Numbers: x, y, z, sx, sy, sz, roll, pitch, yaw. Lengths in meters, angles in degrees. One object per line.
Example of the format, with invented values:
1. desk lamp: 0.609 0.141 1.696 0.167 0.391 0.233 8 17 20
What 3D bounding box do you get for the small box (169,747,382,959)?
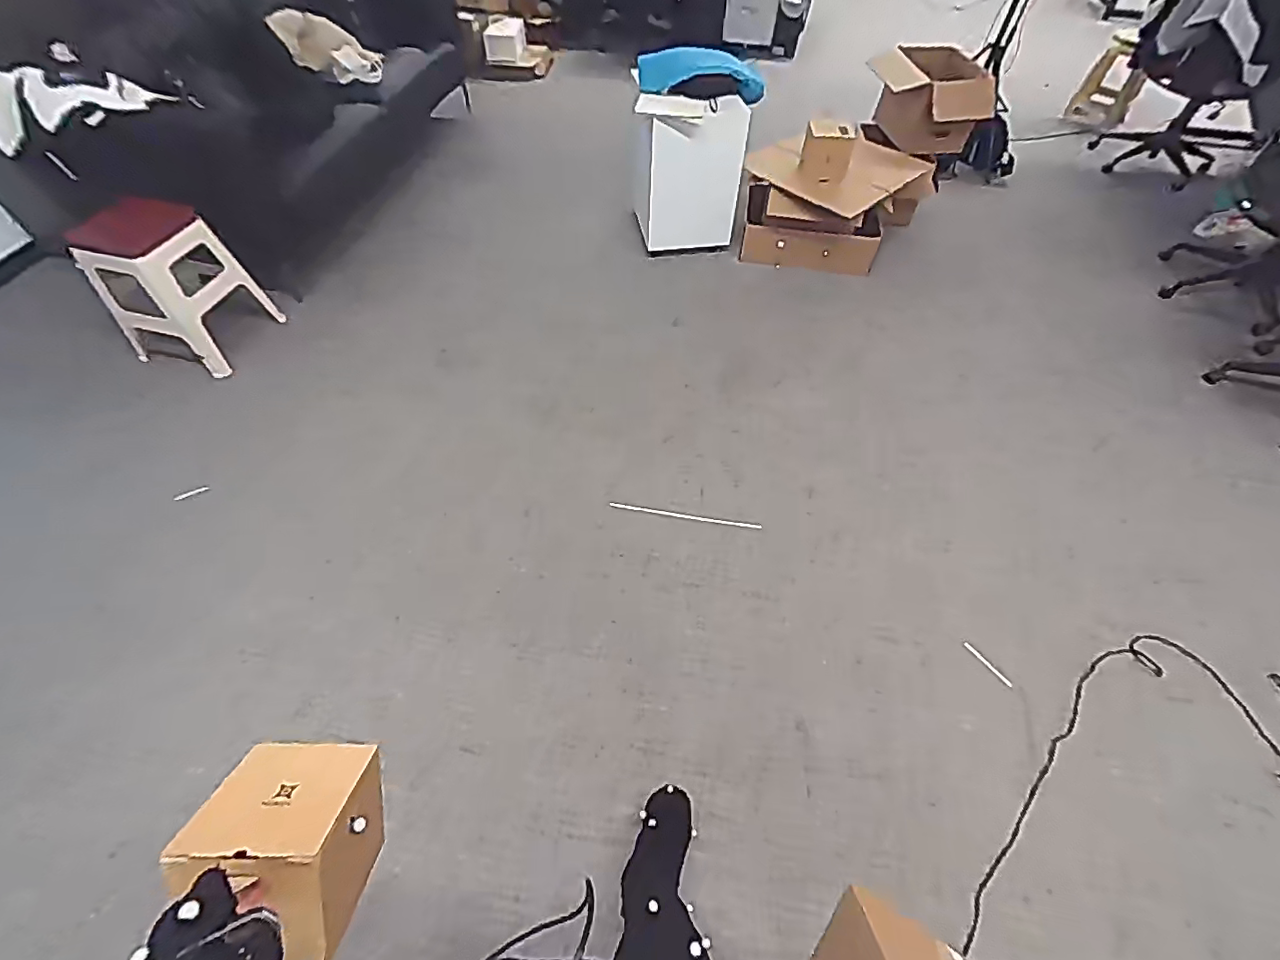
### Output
1. small box: -0.449 0.477 0.696 0.168 0.176 0.179 2 14 -5
